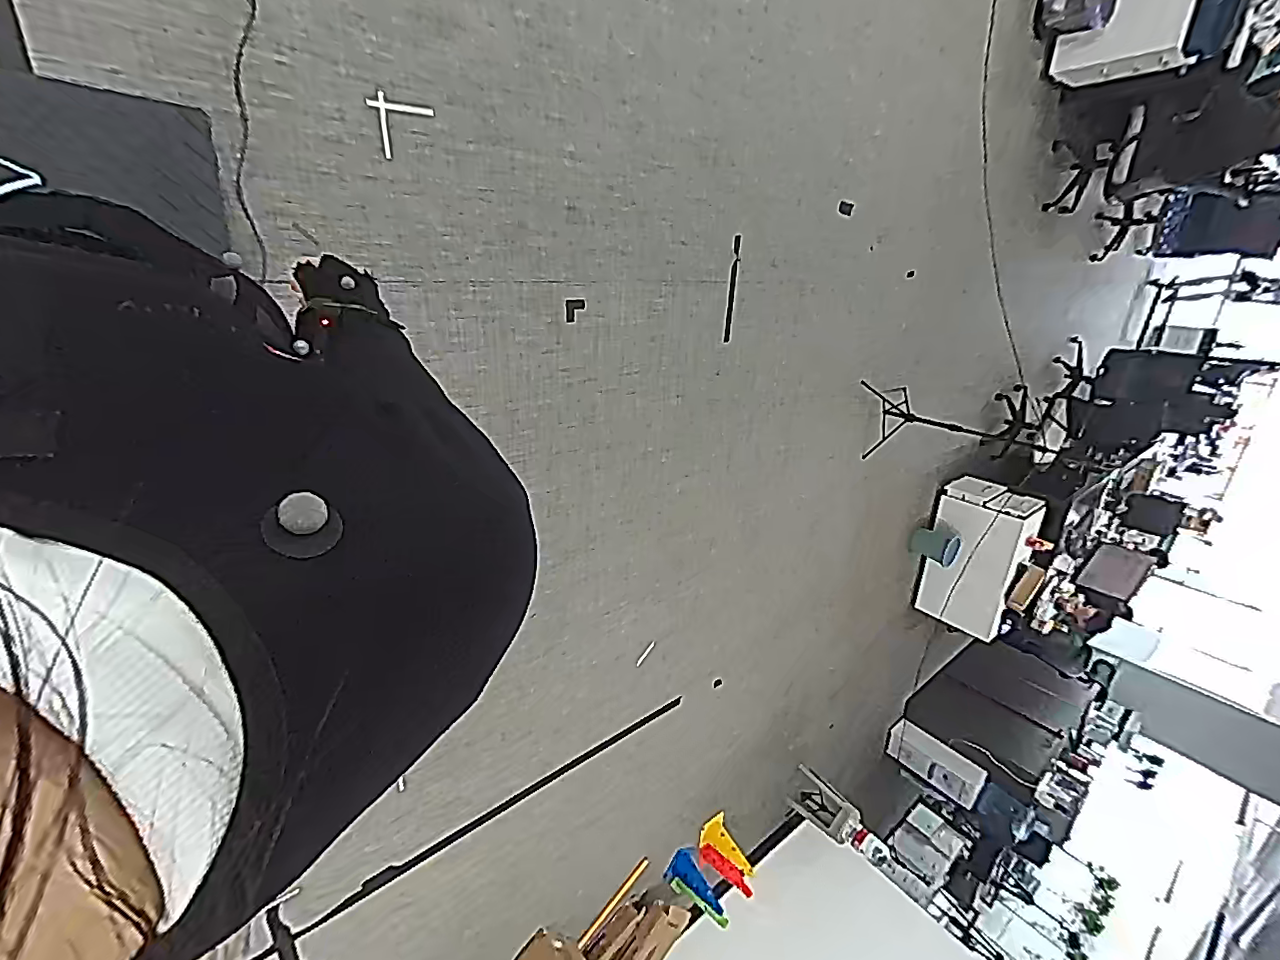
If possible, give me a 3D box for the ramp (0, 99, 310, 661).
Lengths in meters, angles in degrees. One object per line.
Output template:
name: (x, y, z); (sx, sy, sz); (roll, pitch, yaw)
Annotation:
ramp: (-1.030, -0.185, 1.066); (0.509, 0.206, 0.991); (-14, 114, -34)
